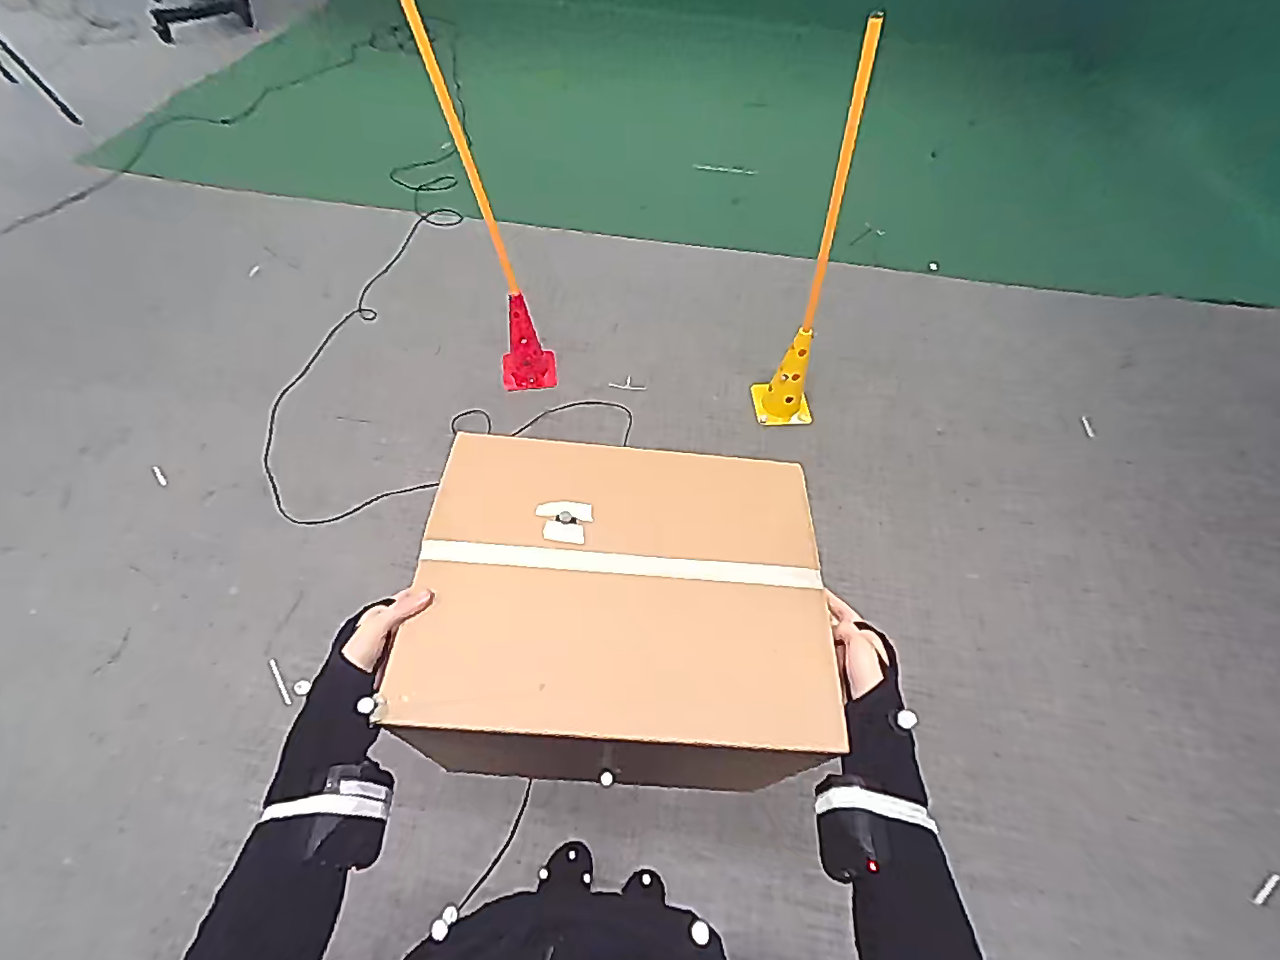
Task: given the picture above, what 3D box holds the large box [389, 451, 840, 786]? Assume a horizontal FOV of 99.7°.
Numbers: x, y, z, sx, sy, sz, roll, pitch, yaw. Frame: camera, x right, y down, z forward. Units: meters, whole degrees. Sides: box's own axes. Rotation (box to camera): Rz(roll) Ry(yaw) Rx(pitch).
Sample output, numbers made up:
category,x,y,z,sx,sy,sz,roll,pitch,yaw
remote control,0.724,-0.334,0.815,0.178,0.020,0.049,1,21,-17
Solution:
category,x,y,z,sx,sy,sz,roll,pitch,yaw
large box,-0.023,0.188,0.677,0.408,0.320,0.320,5,53,-2
